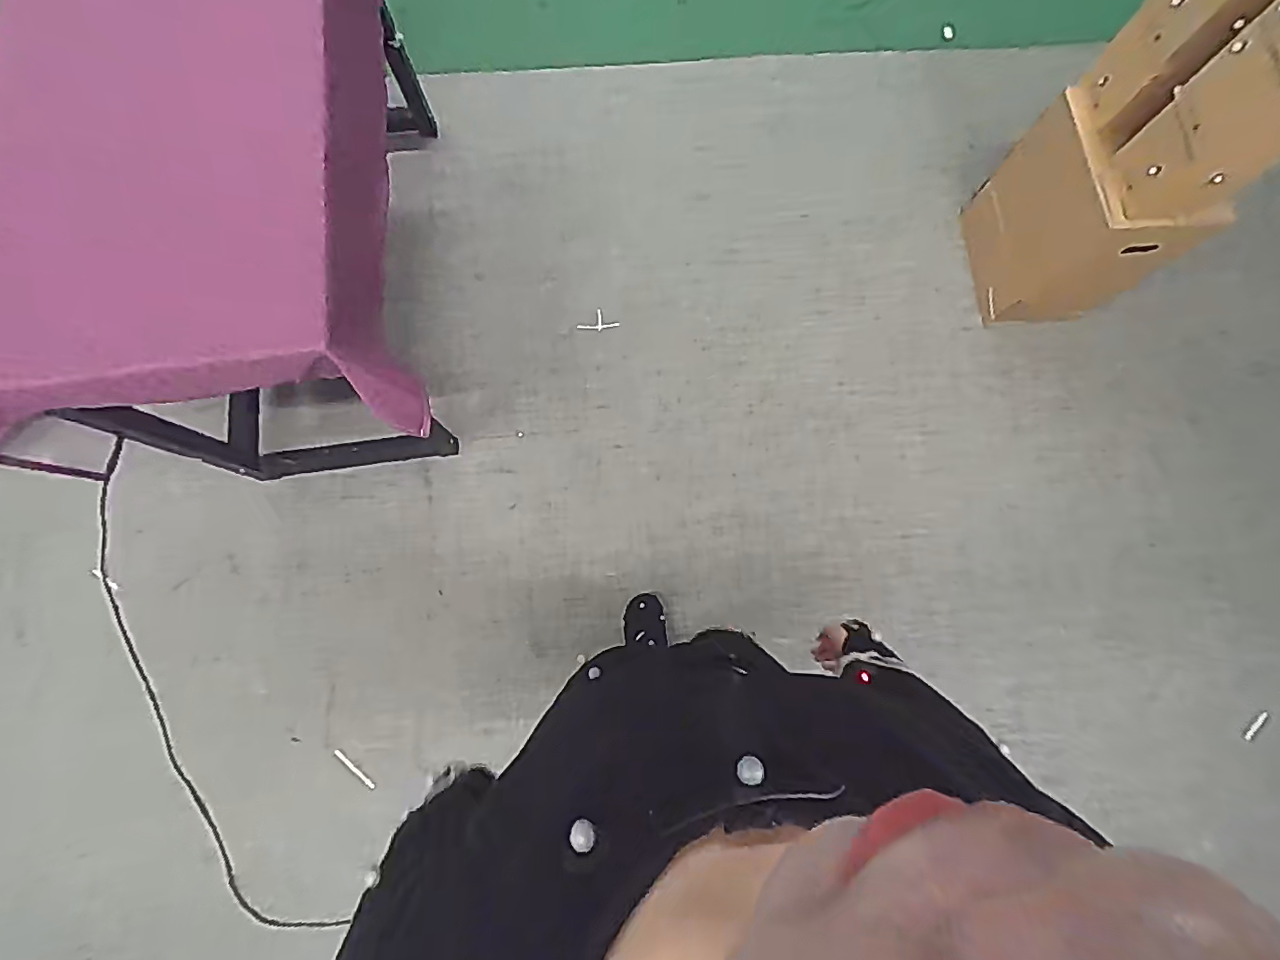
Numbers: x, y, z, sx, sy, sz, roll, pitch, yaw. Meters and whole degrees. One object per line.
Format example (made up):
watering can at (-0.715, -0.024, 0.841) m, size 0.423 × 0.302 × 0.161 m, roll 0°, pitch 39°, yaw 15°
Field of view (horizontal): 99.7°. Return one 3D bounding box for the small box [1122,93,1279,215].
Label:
small box at (1.211, -0.706, 1.184) m, size 0.179 × 0.176 × 0.168 m, roll -1°, pitch 77°, yaw -1°

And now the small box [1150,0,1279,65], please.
small box at (1.175, -0.969, 1.076) m, size 0.179 × 0.176 × 0.168 m, roll -3°, pitch 79°, yaw 1°

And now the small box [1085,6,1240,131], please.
small box at (1.181, -0.936, 1.236) m, size 0.179 × 0.176 × 0.168 m, roll -4°, pitch 79°, yaw 0°
